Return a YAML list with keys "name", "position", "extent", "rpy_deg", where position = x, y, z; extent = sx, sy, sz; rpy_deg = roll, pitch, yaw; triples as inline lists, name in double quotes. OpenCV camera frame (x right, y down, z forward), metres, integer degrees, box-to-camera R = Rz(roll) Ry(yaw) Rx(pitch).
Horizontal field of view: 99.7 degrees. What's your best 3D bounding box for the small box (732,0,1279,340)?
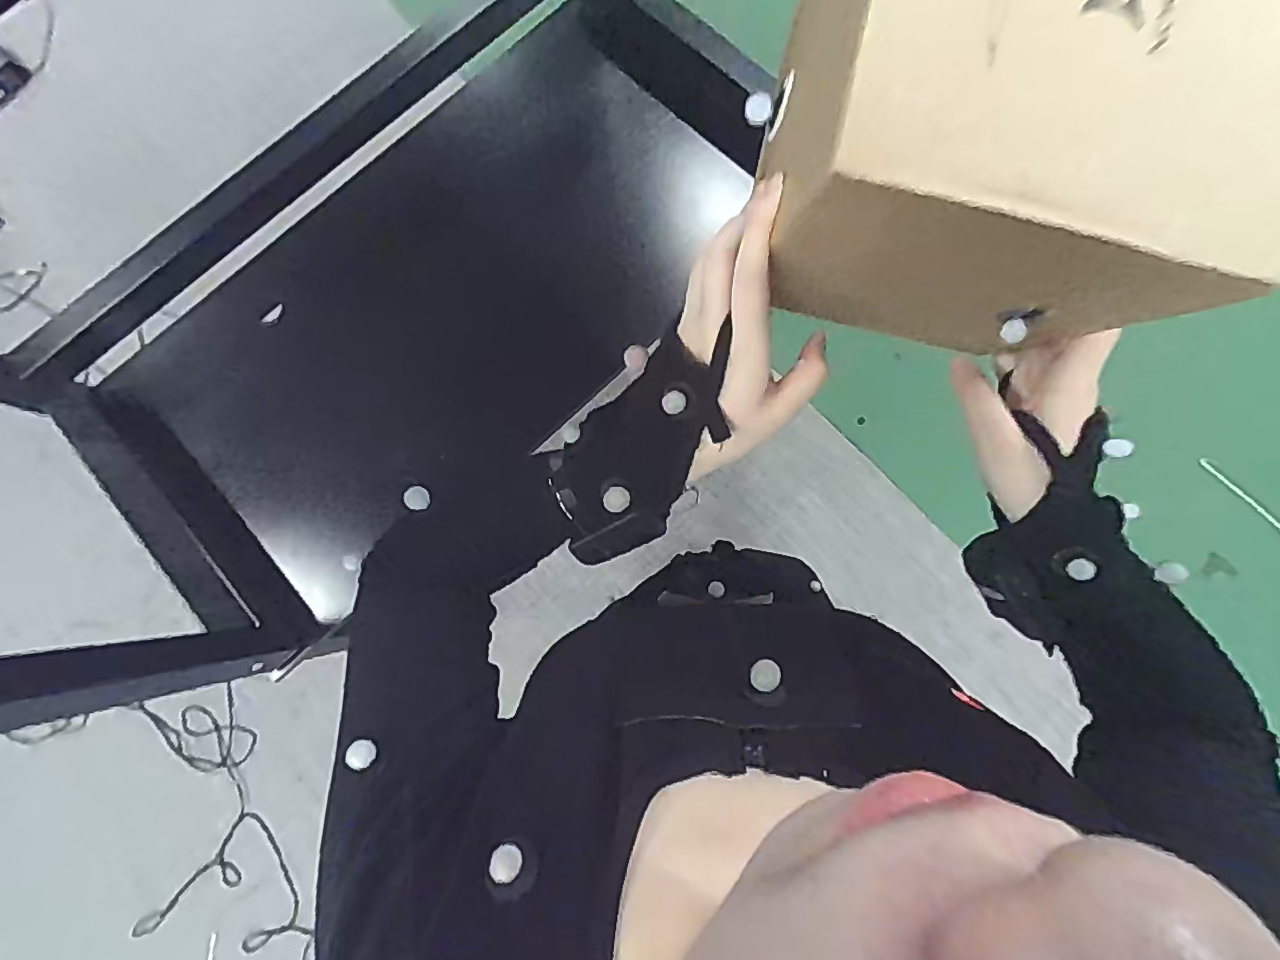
- name: "small box"
  position: [0.163, -0.178, 0.274]
  extent: [0.179, 0.176, 0.168]
  rpy_deg: [11, 92, -4]
